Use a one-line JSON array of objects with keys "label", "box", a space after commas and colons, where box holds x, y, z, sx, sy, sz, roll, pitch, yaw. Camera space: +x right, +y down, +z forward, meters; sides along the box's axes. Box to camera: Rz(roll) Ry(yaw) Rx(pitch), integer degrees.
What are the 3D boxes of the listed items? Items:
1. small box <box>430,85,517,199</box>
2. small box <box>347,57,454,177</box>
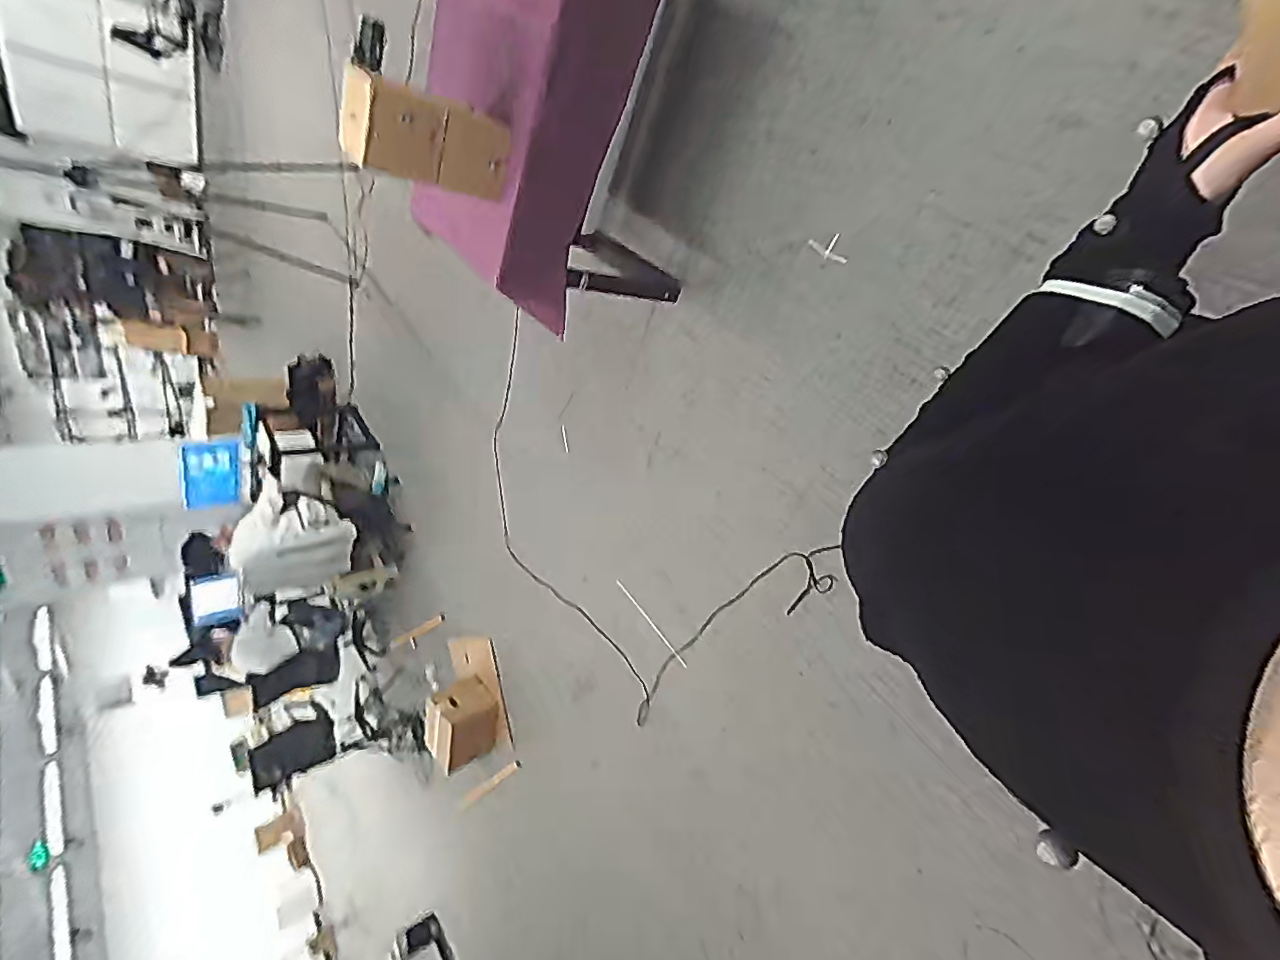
[{"label": "small box", "box": [-0.429, -0.837, 1.351, 0.168, 0.176, 0.179, 47, 127, 31]}, {"label": "small box", "box": [-0.549, -0.823, 1.240, 0.179, 0.176, 0.168, 49, 128, 30]}]
